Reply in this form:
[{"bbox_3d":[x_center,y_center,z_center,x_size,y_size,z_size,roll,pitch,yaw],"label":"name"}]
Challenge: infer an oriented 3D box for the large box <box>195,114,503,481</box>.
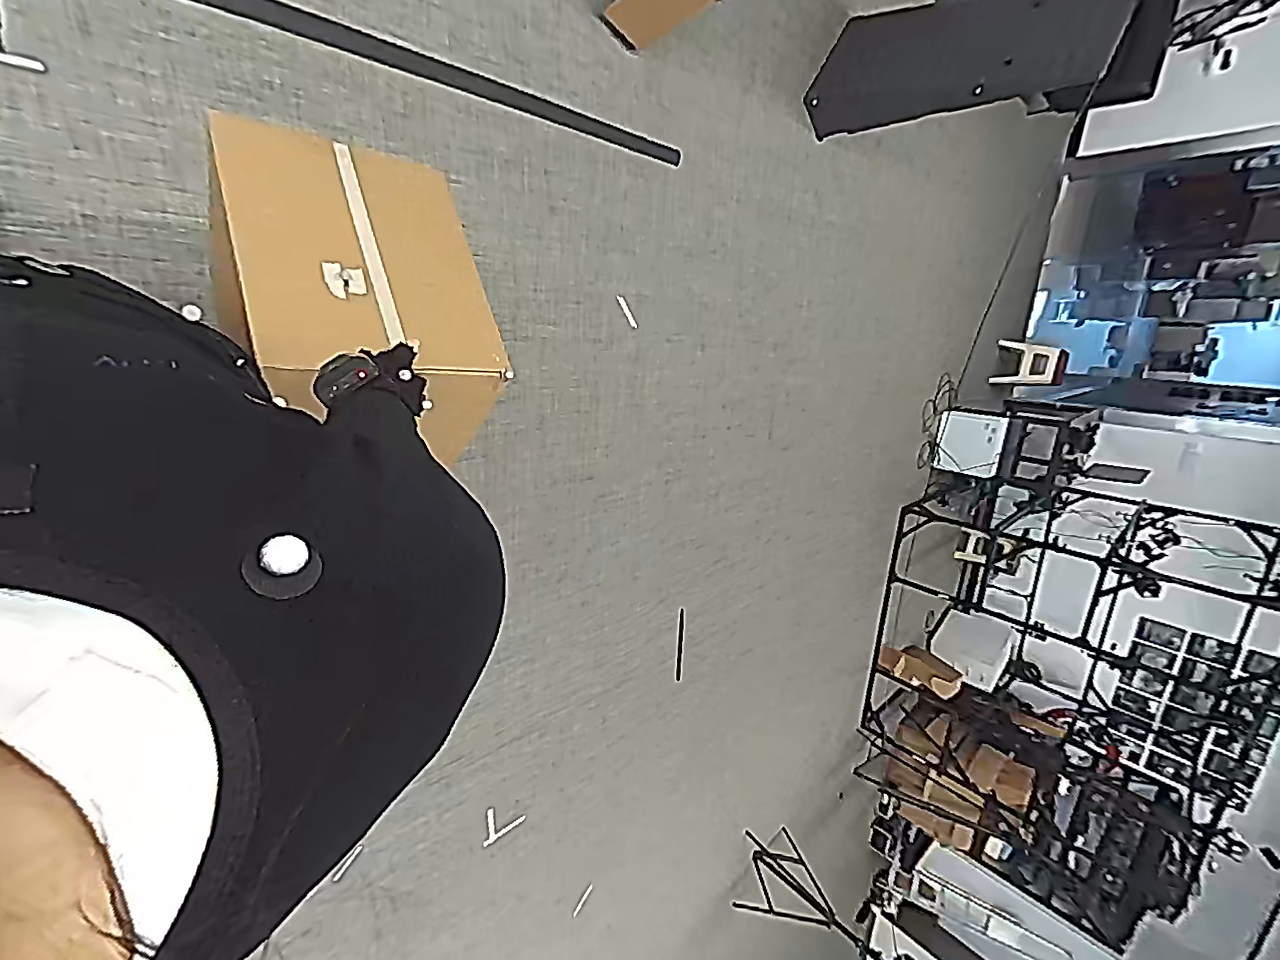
[{"bbox_3d":[-0.468,-0.252,0.851,0.320,0.320,0.408,-9,72,-39],"label":"large box"}]
